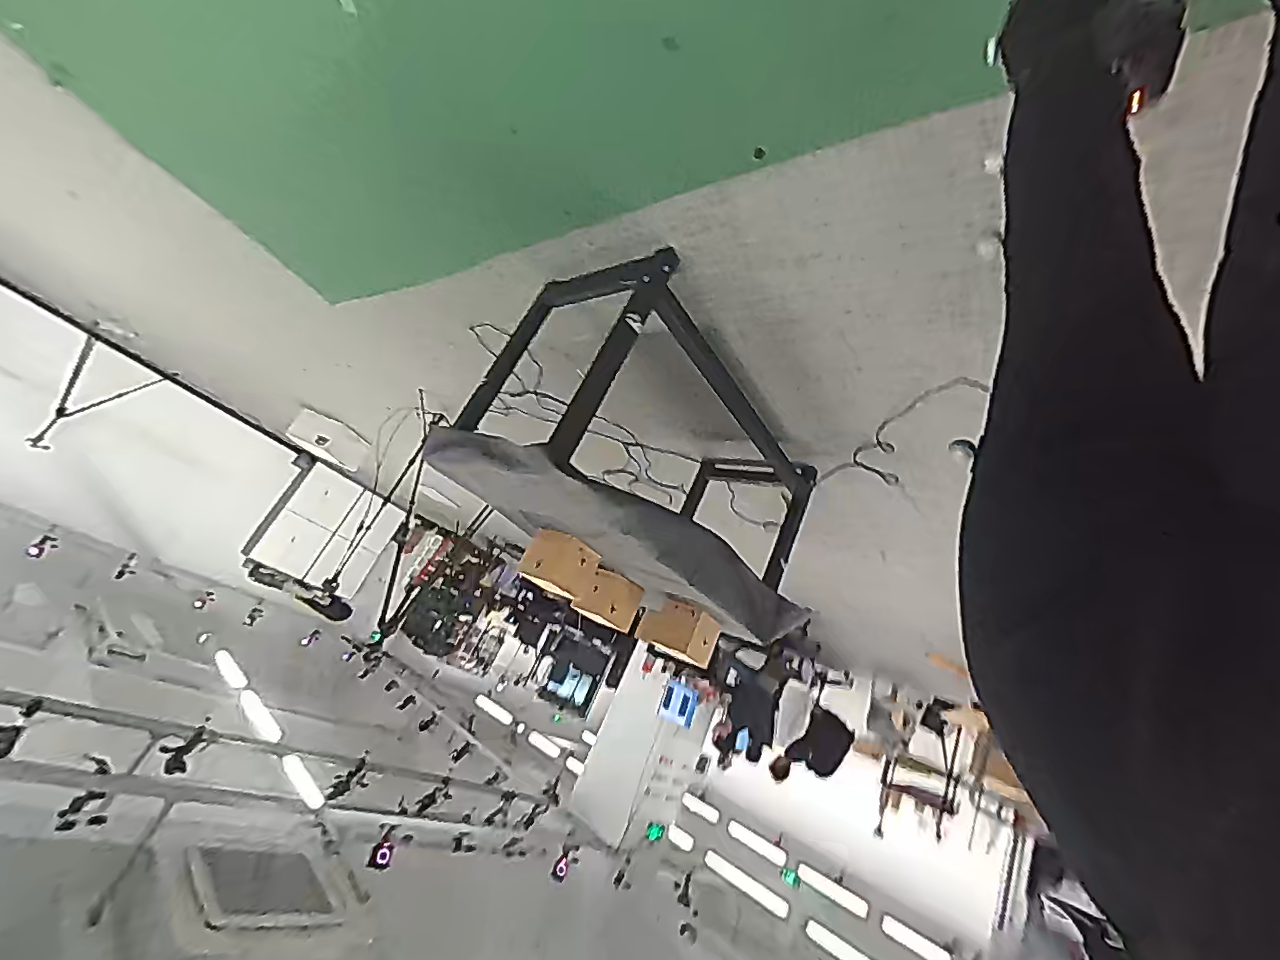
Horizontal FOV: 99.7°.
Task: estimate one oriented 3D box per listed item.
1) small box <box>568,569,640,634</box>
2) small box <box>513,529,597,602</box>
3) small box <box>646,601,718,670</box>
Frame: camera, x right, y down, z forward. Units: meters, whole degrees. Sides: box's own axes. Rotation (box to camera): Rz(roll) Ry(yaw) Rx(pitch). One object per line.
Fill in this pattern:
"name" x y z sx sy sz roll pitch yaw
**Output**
"small box" -0.131 0.448 2.020 0.168 0.176 0.179 6 152 42
"small box" -0.275 0.276 1.781 0.179 0.176 0.168 6 152 41
"small box" 0.155 0.556 1.949 0.168 0.176 0.179 9 154 40
